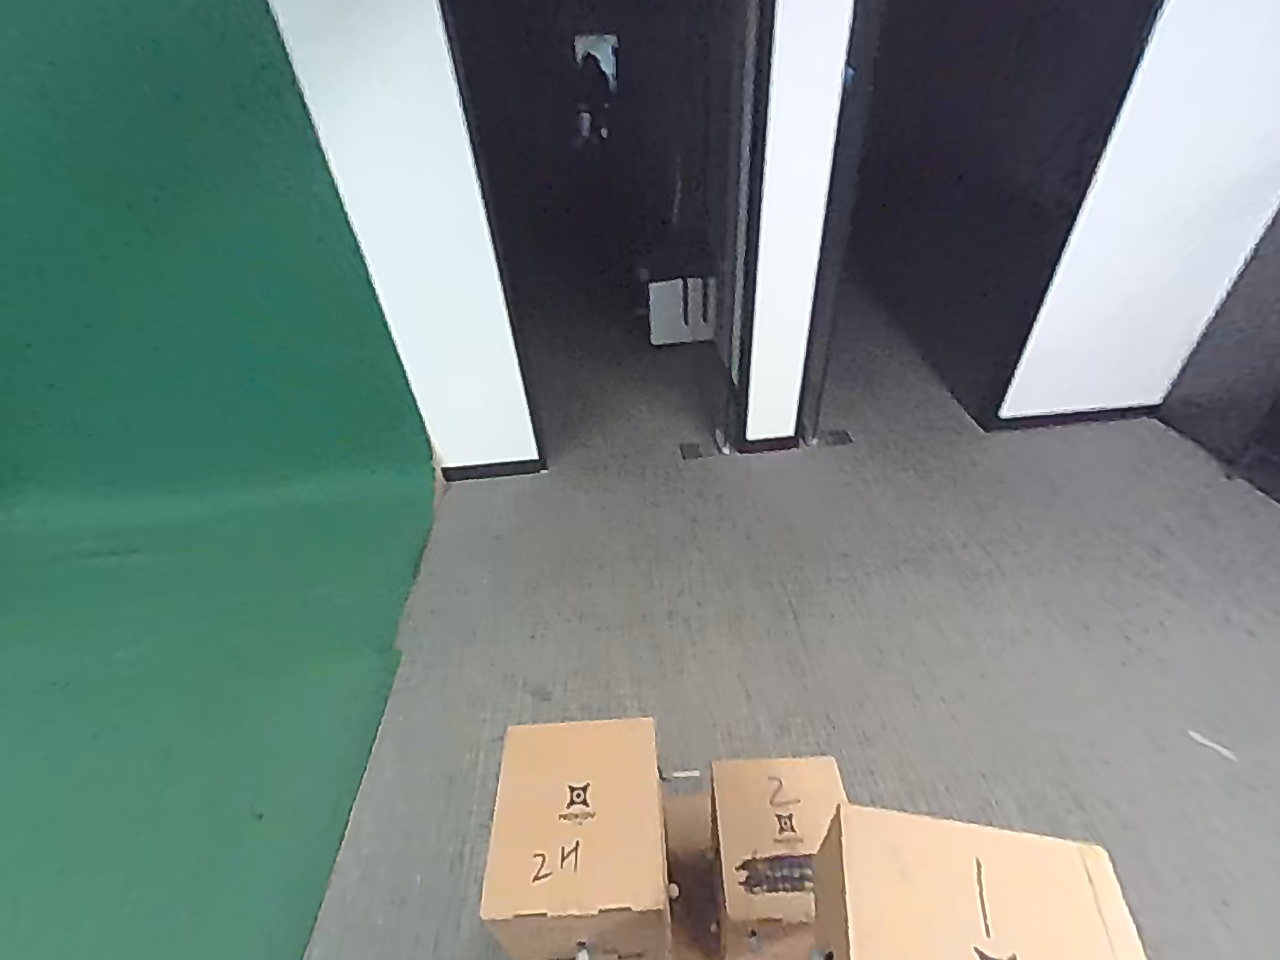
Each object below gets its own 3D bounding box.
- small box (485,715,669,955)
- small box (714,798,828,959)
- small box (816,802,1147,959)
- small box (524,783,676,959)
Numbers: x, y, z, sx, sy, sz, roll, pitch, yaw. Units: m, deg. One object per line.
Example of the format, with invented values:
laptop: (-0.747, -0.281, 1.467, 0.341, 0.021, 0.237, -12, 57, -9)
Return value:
small box: (-0.055, 0.384, 0.591, 0.168, 0.176, 0.179, -4, 40, 1)
small box: (0.203, 0.606, 0.810, 0.168, 0.176, 0.179, -4, 38, 3)
small box: (0.212, 0.348, 0.358, 0.168, 0.176, 0.179, 3, 44, 12)
small box: (-0.042, 0.513, 0.693, 0.168, 0.176, 0.179, -4, 40, 0)
